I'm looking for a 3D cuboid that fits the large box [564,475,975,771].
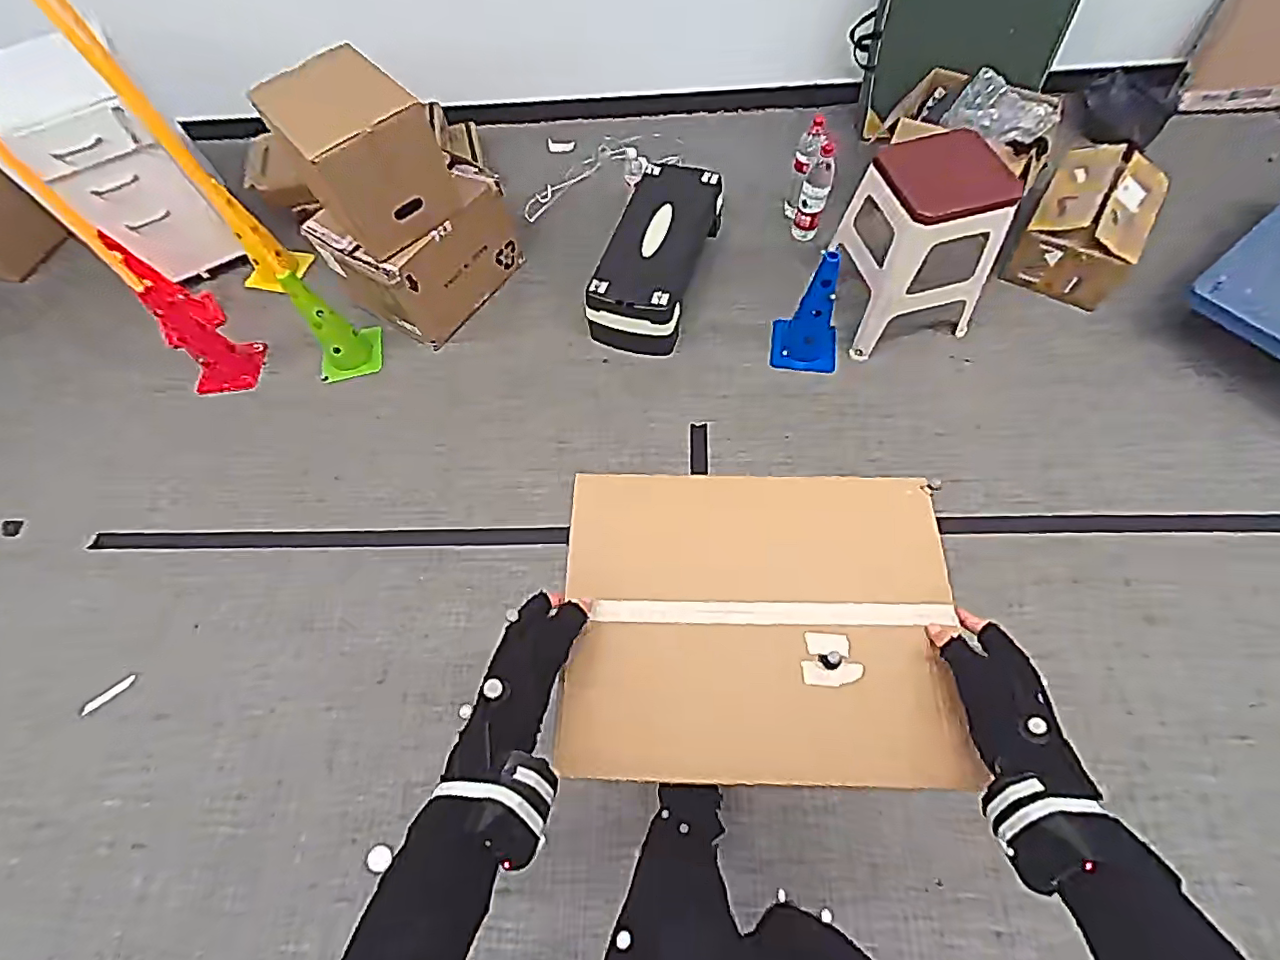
[{"bbox_3d":[0.124,0.195,0.712,0.408,0.320,0.320,1,67,1],"label":"large box"}]
